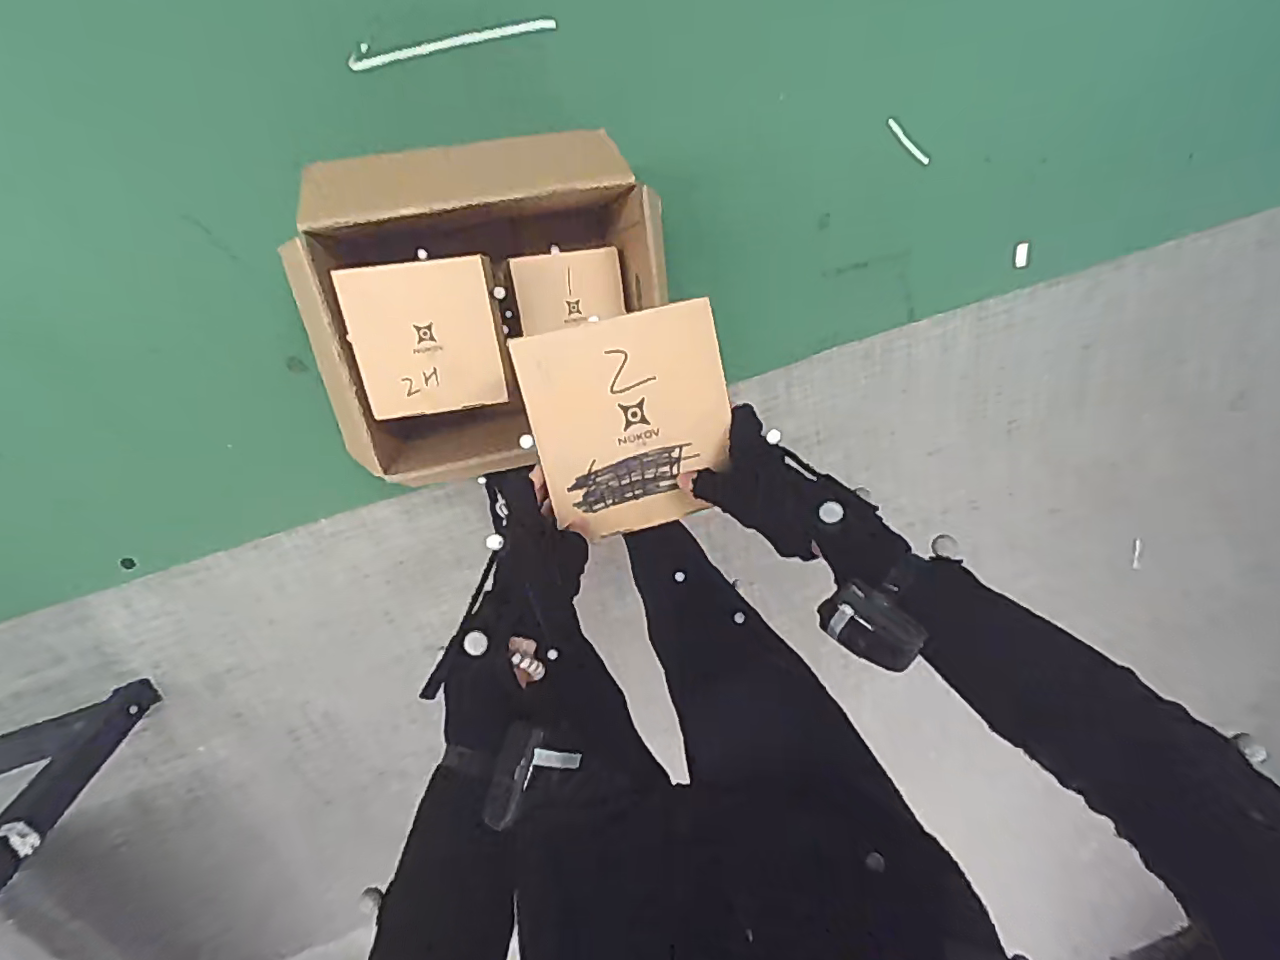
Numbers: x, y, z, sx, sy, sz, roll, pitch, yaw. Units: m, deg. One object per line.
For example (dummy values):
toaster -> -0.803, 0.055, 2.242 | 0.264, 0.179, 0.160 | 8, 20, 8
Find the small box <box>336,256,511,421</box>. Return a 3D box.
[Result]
small box -> -0.267, -0.190, 0.711 | 0.168, 0.176, 0.179 | -9, 112, -8
